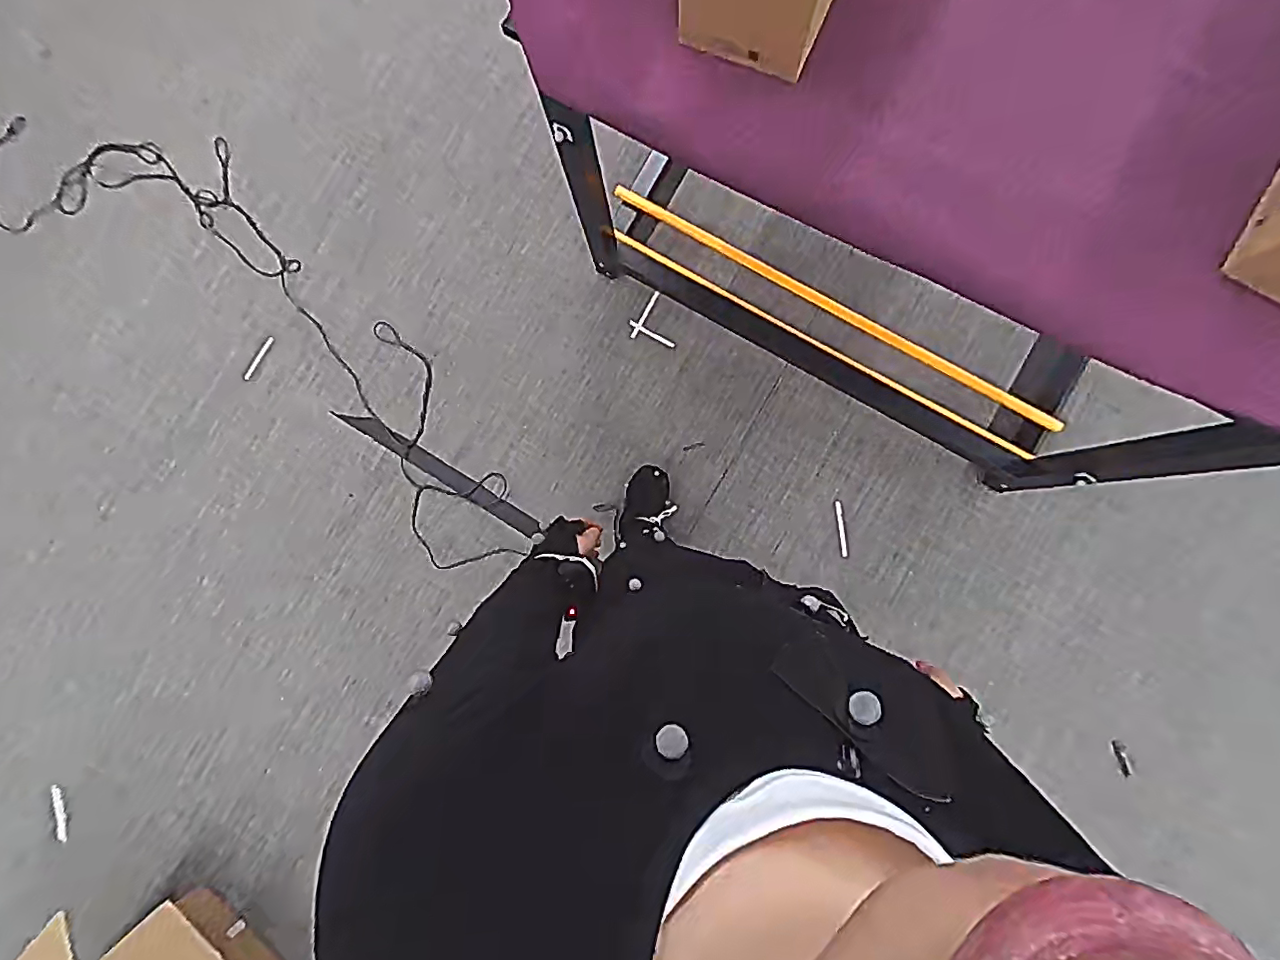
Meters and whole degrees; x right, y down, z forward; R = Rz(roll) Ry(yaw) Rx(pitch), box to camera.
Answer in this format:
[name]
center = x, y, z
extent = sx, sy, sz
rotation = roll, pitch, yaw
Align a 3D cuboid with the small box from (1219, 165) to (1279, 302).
[small box]
center = 0.796, -0.281, 0.562
extent = 0.179, 0.176, 0.168
rotation = 32, 87, 6
